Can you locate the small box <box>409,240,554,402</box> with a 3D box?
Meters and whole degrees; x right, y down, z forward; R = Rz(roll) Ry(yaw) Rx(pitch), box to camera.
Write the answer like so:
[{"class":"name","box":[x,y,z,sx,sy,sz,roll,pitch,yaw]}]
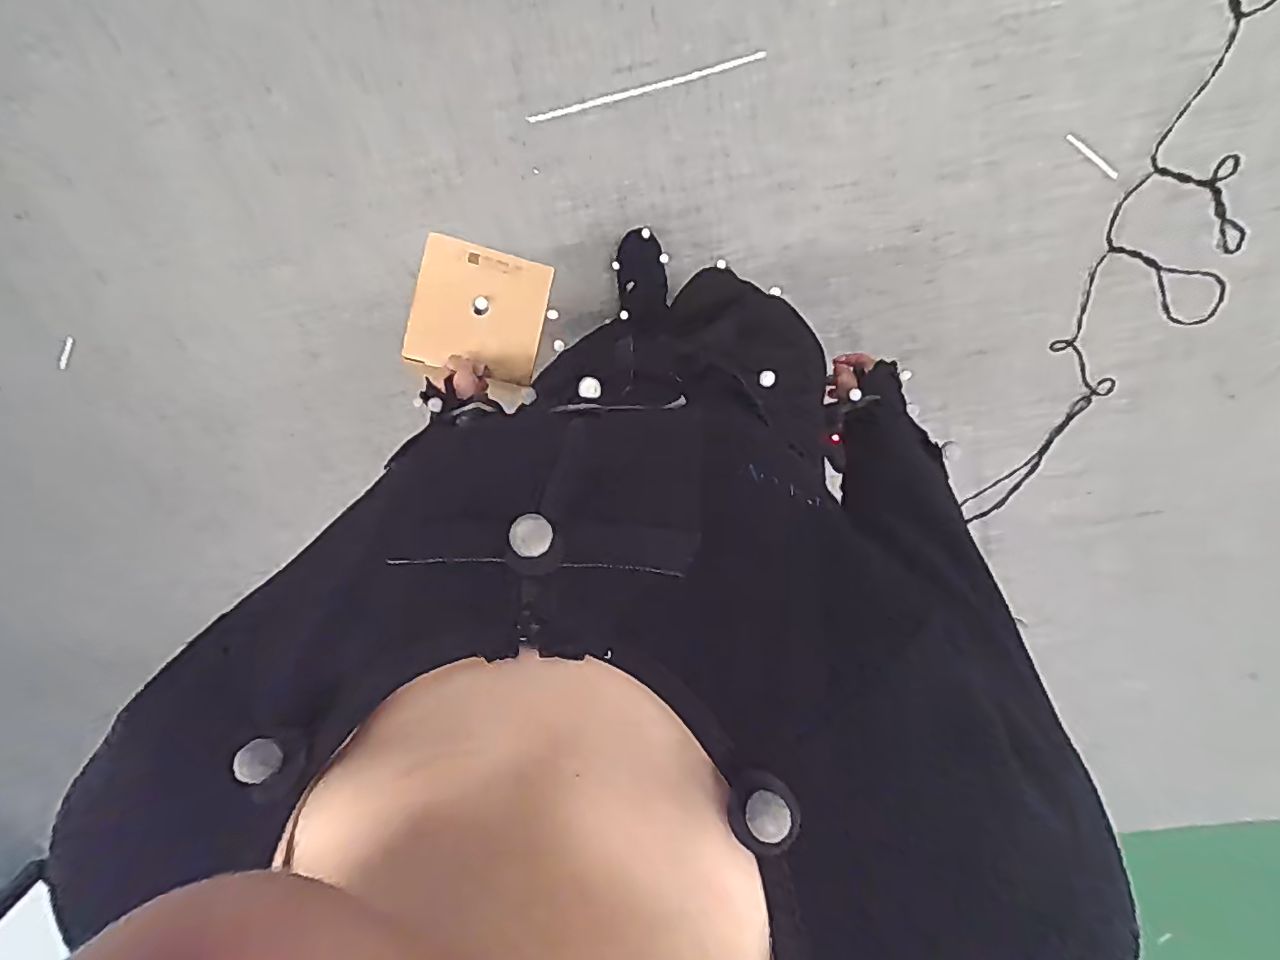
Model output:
[{"class":"small box","box":[-0.225,-0.222,0.788,0.168,0.179,0.176,11,89,-14]}]
